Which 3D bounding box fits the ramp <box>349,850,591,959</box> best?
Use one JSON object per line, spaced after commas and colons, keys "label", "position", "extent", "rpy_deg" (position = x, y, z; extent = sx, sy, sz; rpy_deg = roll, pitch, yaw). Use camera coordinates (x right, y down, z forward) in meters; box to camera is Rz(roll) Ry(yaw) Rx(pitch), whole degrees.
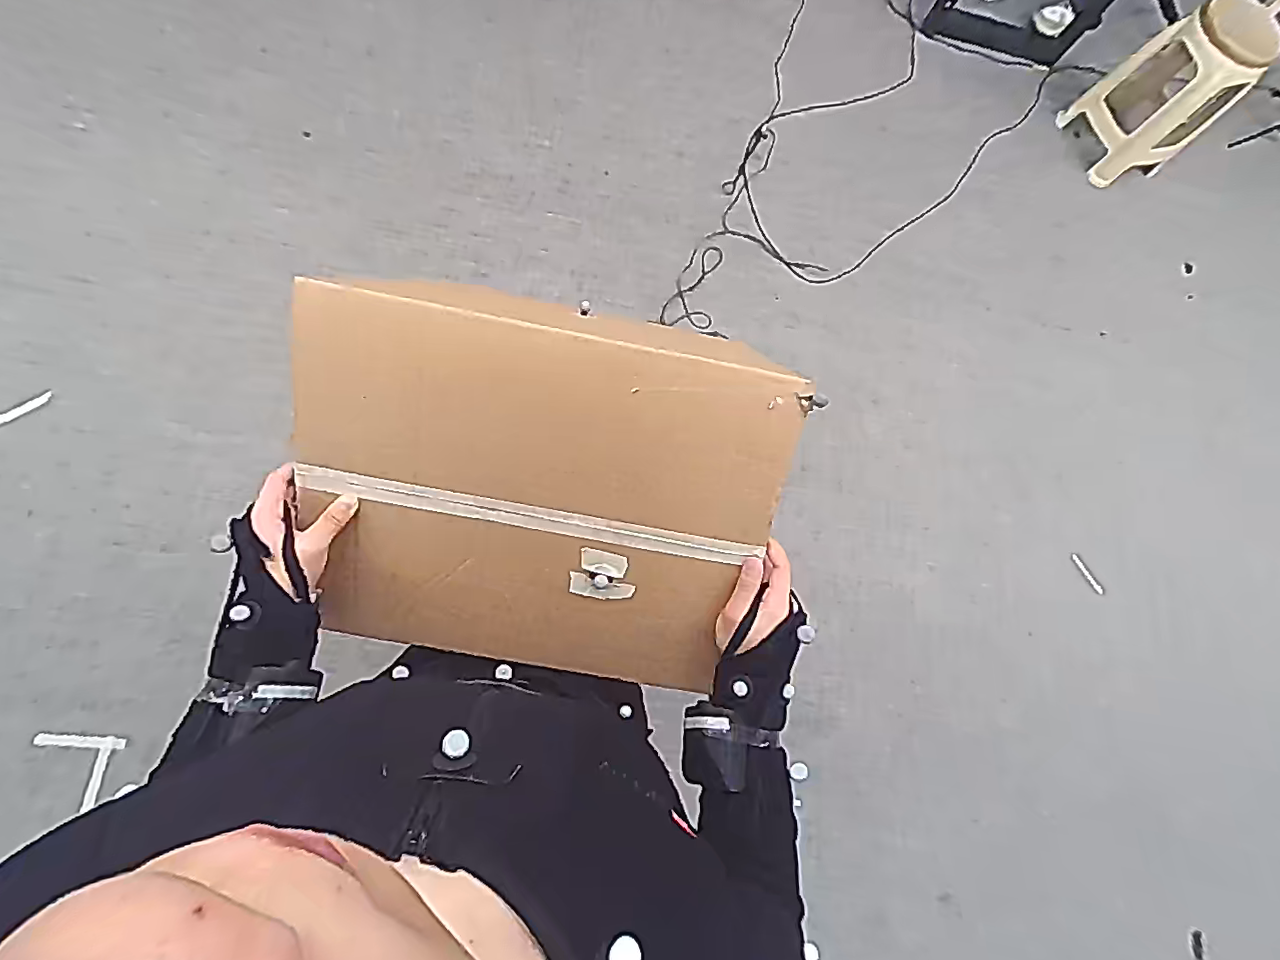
{"label": "ramp", "position": [-0.396, 1.307, 1.021], "extent": [0.509, 0.206, 0.991], "rpy_deg": [7, 74, -7]}

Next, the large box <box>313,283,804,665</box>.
{"label": "large box", "position": [-0.087, -0.034, 0.621], "extent": [0.408, 0.320, 0.320], "rpy_deg": [10, 111, -4]}
